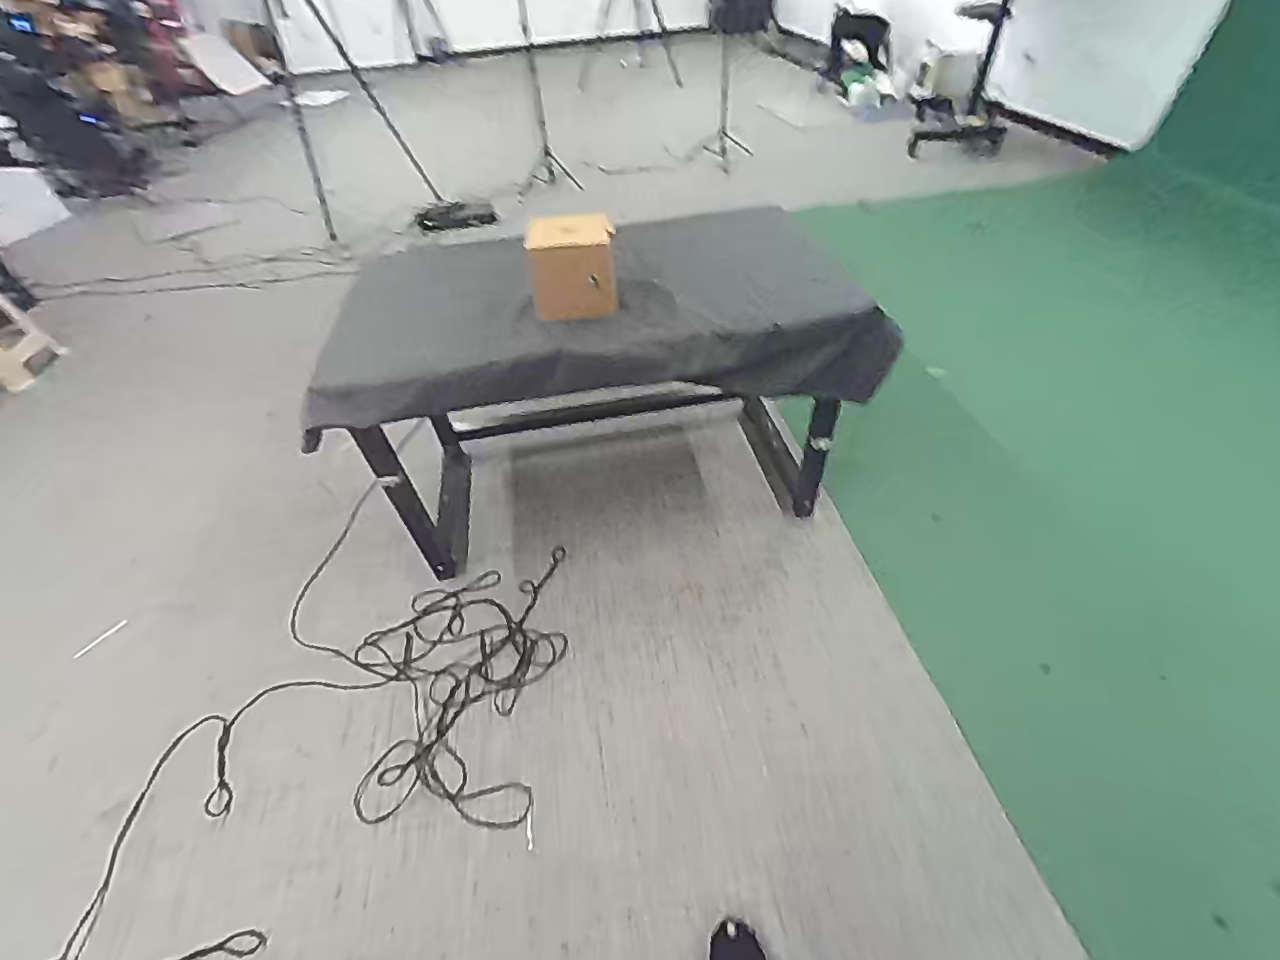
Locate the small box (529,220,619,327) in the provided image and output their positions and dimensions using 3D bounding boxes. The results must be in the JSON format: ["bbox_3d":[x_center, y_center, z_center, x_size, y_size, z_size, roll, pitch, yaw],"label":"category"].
[{"bbox_3d":[-0.138,-0.461,1.214,0.179,0.176,0.168,-5,44,1],"label":"small box"}]
